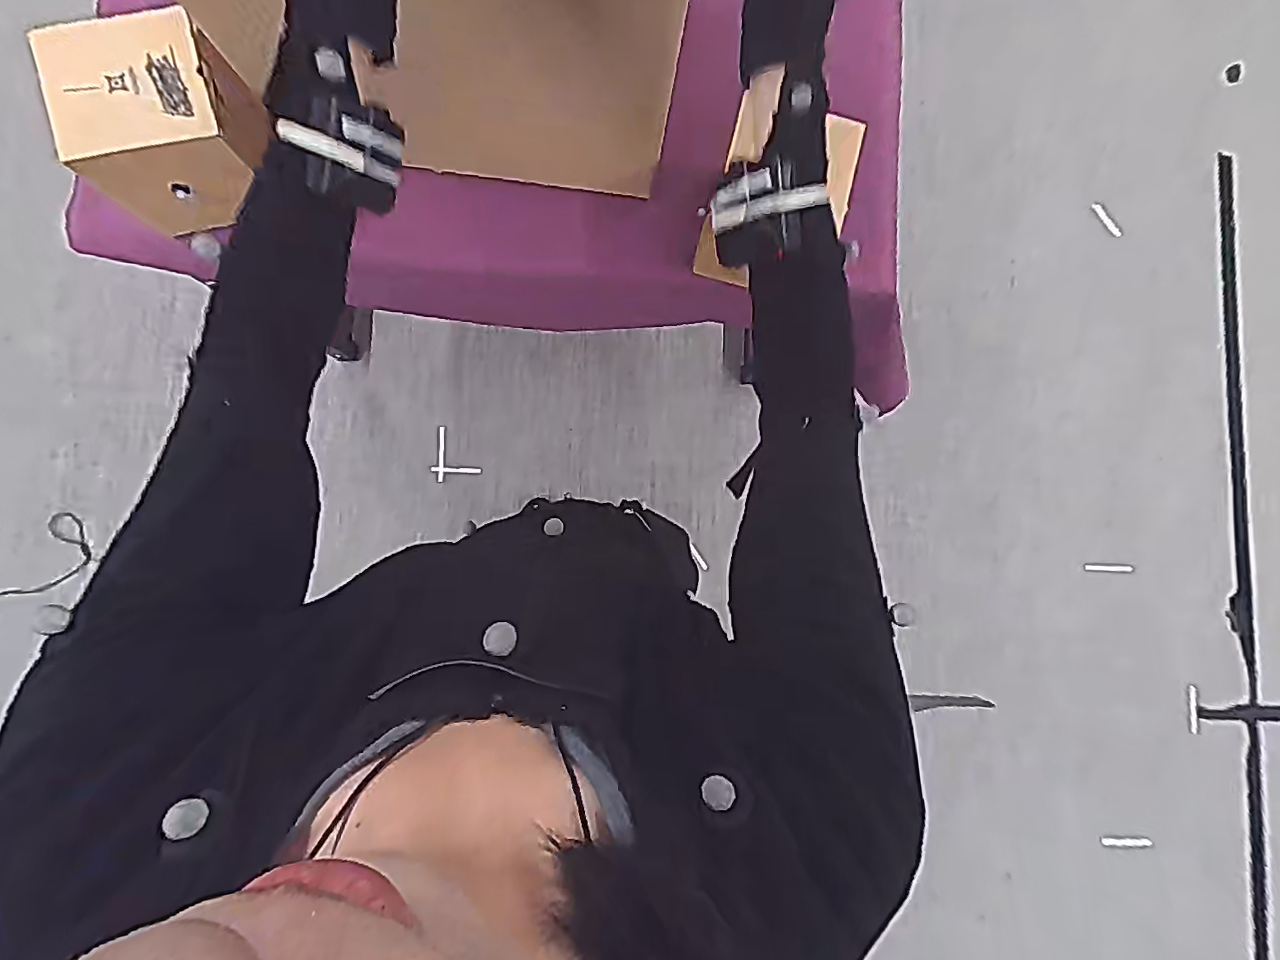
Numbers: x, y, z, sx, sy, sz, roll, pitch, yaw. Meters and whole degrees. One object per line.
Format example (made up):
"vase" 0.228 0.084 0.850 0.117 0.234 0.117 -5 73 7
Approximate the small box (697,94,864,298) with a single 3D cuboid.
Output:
"small box" 0.186 -0.386 0.769 0.168 0.176 0.179 14 84 -4
